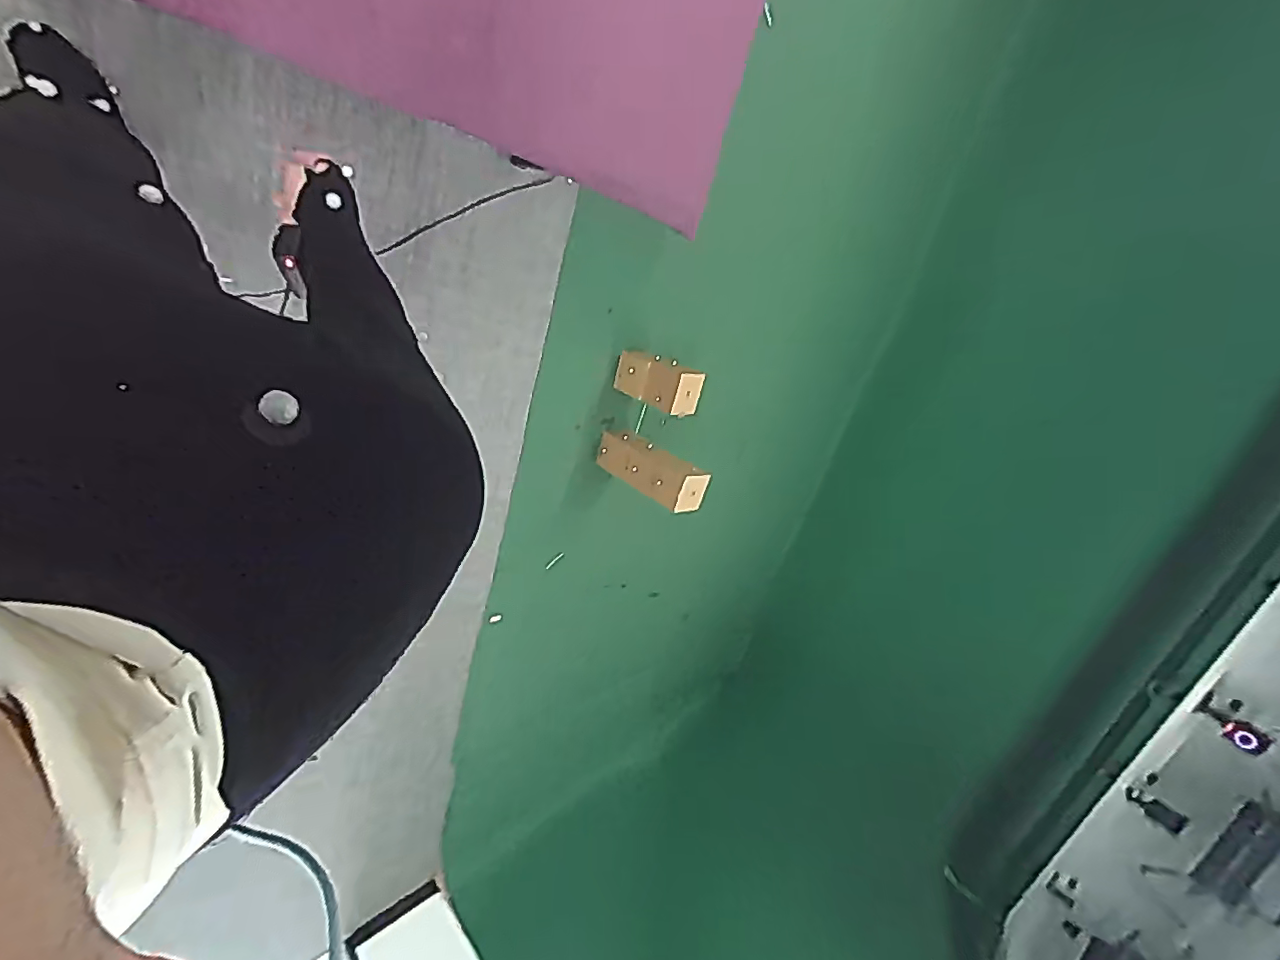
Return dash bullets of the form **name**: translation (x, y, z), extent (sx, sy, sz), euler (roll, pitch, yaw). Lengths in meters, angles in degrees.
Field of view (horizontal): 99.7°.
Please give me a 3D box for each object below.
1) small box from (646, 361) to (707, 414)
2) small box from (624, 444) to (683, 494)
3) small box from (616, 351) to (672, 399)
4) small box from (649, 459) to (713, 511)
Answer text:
- **small box**: translation (0.145, -0.385, 2.253), extent (0.168, 0.176, 0.179), euler (-10, 122, -47)
- **small box**: translation (0.057, -0.052, 2.386), extent (0.179, 0.176, 0.168), euler (-5, 120, -47)
- **small box**: translation (0.022, -0.453, 2.335), extent (0.179, 0.176, 0.168), euler (-10, 123, -47)
- **small box**: translation (0.172, 0.016, 2.290), extent (0.179, 0.176, 0.168), euler (-3, 118, -48)
